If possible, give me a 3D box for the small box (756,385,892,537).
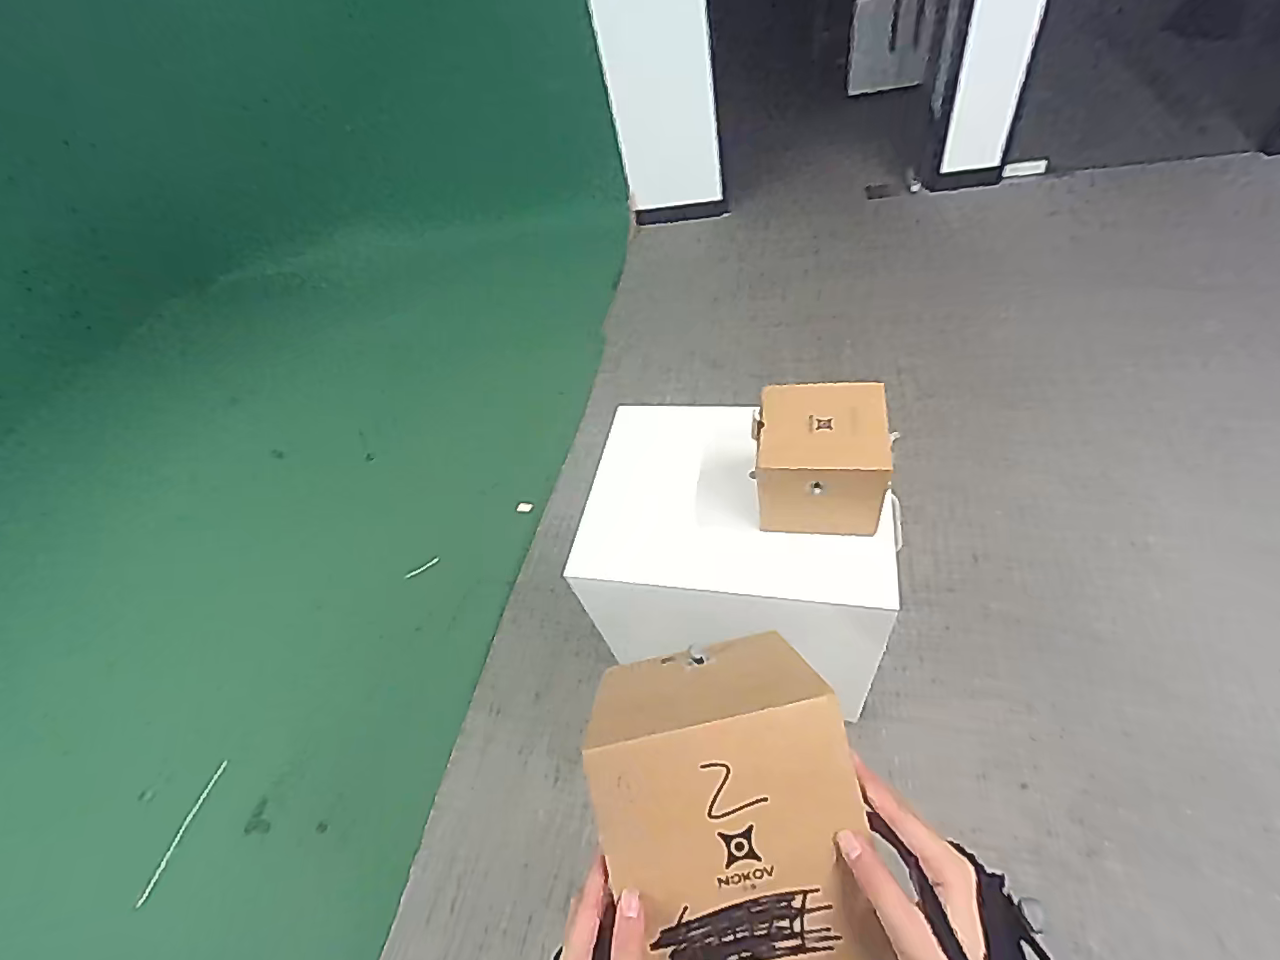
[{"bbox_3d":[0.274,-0.025,0.824,0.179,0.176,0.168,1,53,16],"label":"small box"}]
